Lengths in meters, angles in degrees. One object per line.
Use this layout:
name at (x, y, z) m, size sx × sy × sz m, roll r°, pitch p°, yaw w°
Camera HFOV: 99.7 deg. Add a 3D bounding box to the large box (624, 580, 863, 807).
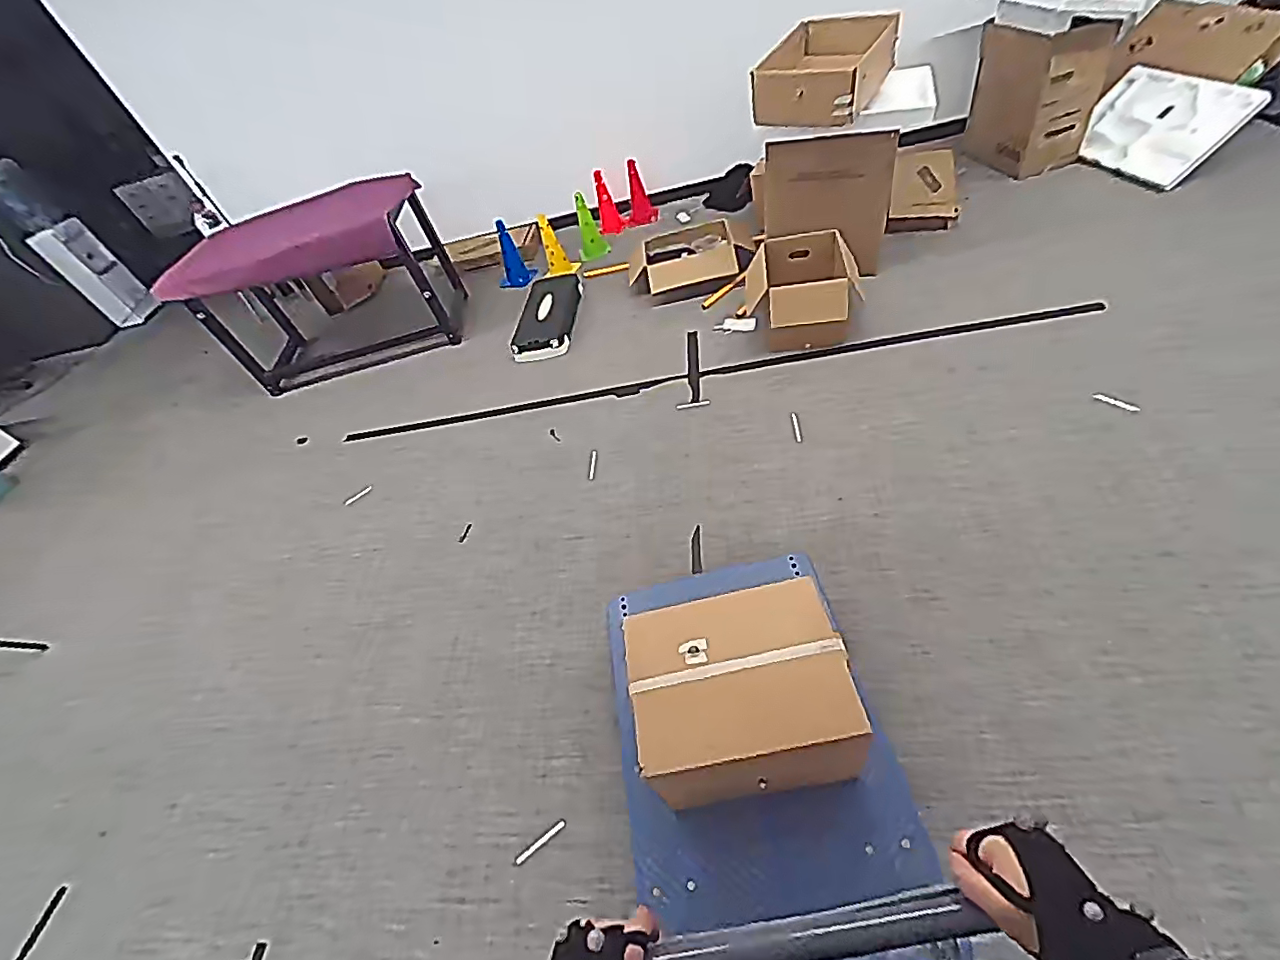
large box at (0.212, 0.464, 1.154) m, size 0.408 × 0.320 × 0.320 m, roll -15°, pitch 46°, yaw 6°
